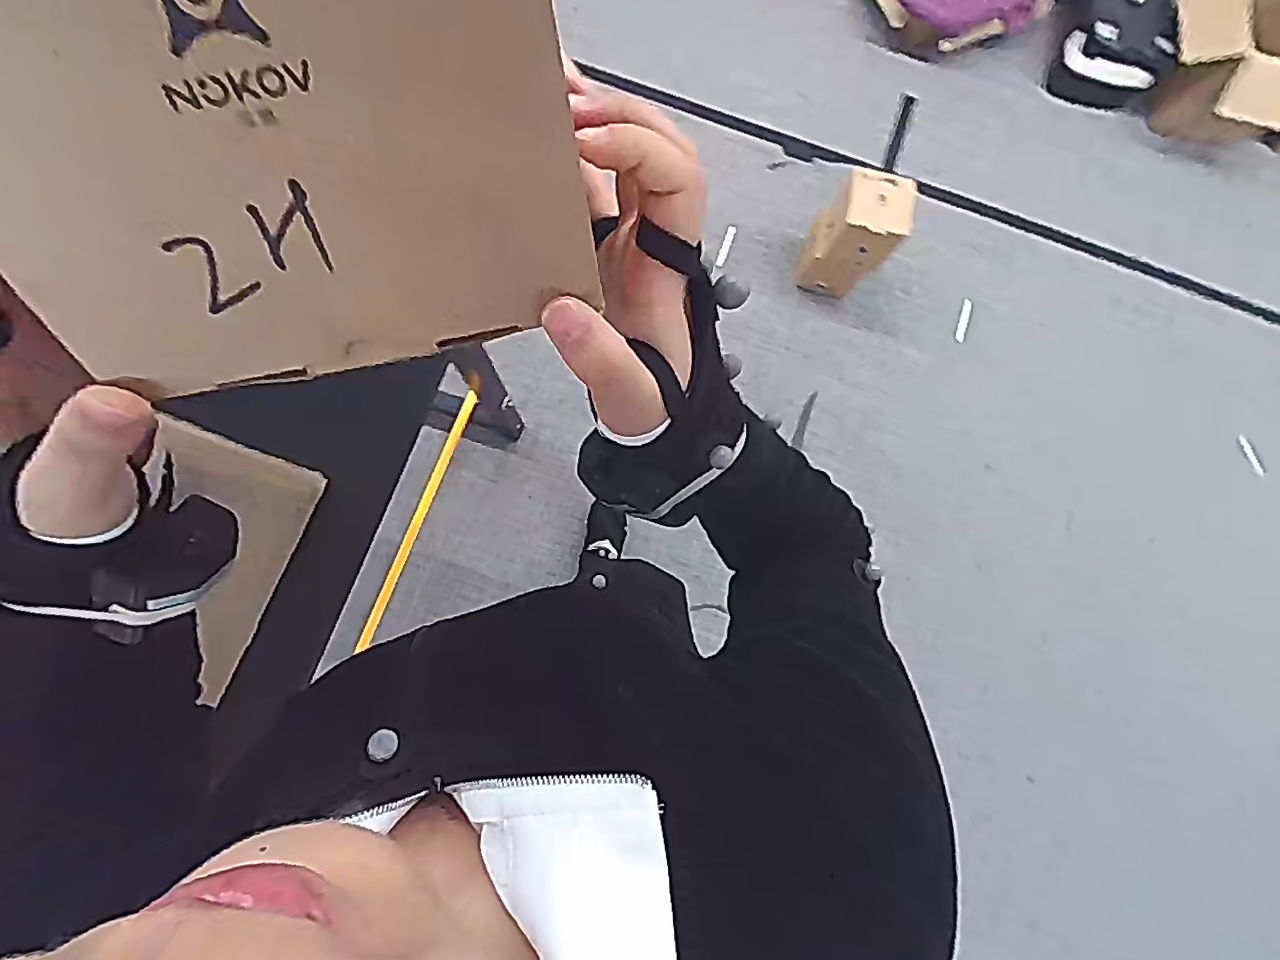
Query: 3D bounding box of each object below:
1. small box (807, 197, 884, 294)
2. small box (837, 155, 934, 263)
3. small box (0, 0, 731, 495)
[{"bbox_3d":[0.601,-0.675,1.569,0.168,0.176,0.179,13,81,-2],"label":"small box"},{"bbox_3d":[0.630,-0.696,1.408,0.168,0.176,0.179,12,80,-2],"label":"small box"},{"bbox_3d":[-0.085,-0.125,0.114,0.168,0.179,0.176,-12,40,-3],"label":"small box"}]
